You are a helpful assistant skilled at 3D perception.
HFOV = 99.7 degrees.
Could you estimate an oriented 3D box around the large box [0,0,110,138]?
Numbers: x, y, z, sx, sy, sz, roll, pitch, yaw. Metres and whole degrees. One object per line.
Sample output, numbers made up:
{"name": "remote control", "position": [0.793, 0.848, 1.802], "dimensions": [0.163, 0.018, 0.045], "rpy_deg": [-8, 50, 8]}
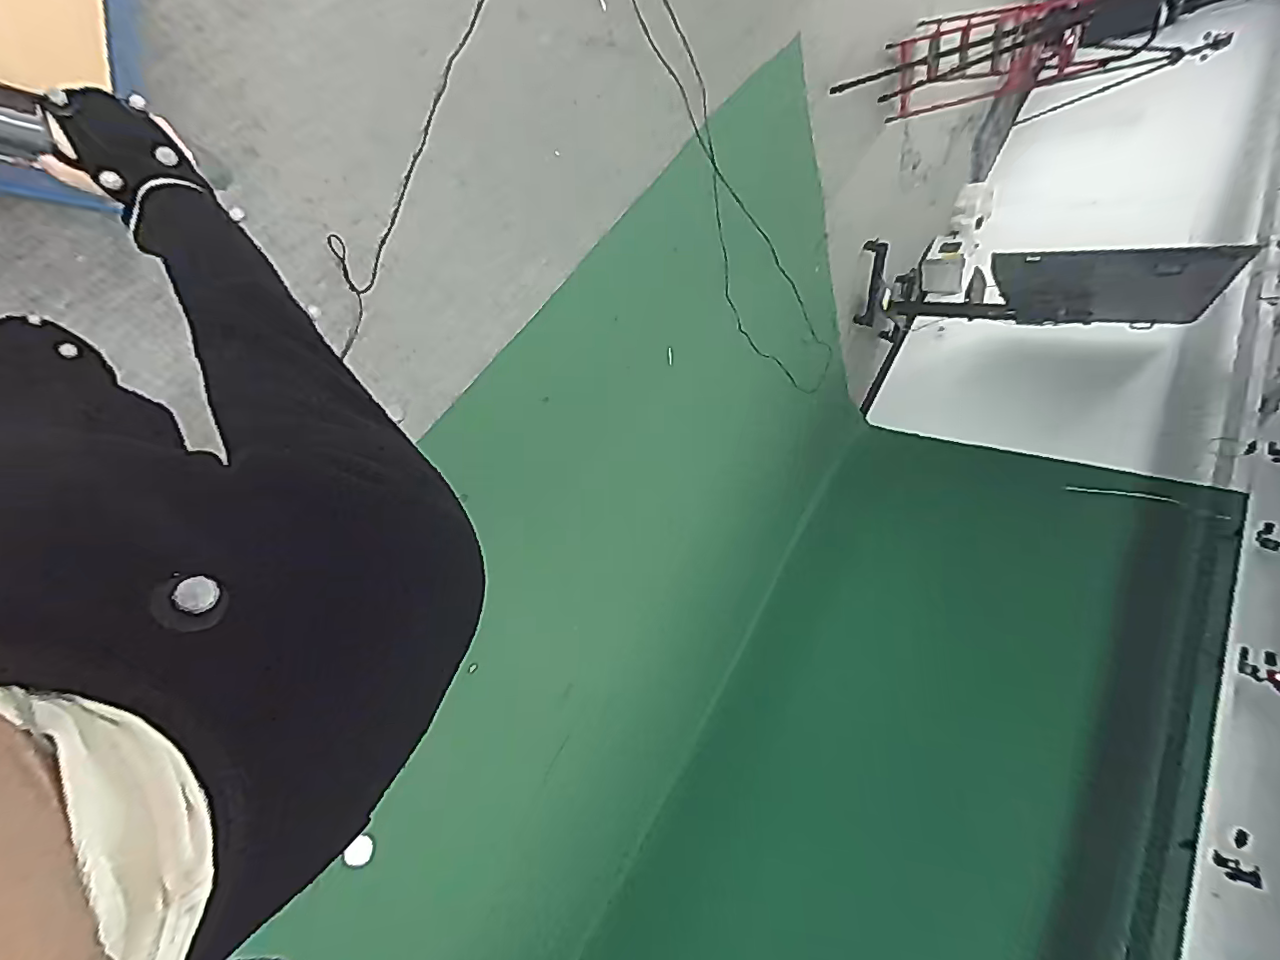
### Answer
{"name": "large box", "position": [-0.957, -0.739, 0.707], "dimensions": [0.320, 0.320, 0.408], "rpy_deg": [-11, 111, -50]}
